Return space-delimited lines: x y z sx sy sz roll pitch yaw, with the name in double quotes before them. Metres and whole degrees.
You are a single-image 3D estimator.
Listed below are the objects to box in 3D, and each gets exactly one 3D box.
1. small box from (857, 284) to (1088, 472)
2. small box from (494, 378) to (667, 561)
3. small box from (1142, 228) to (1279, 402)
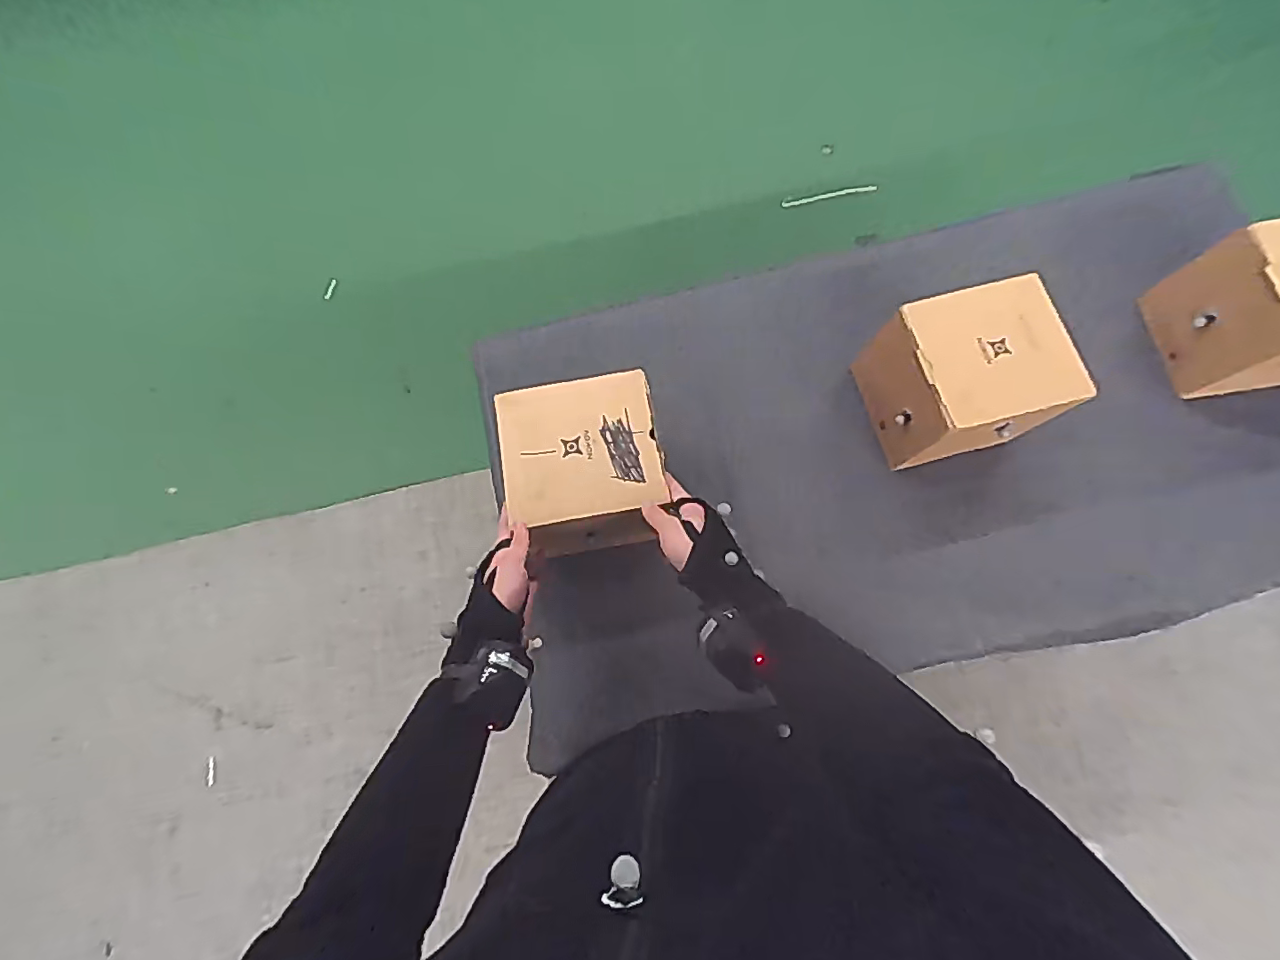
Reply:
"small box" 0.408 -0.122 0.707 0.179 0.176 0.168 -14 76 -4
"small box" -0.068 -0.004 0.673 0.179 0.176 0.168 -10 71 -2
"small box" 0.834 -0.216 0.722 0.179 0.176 0.168 -8 75 -1
